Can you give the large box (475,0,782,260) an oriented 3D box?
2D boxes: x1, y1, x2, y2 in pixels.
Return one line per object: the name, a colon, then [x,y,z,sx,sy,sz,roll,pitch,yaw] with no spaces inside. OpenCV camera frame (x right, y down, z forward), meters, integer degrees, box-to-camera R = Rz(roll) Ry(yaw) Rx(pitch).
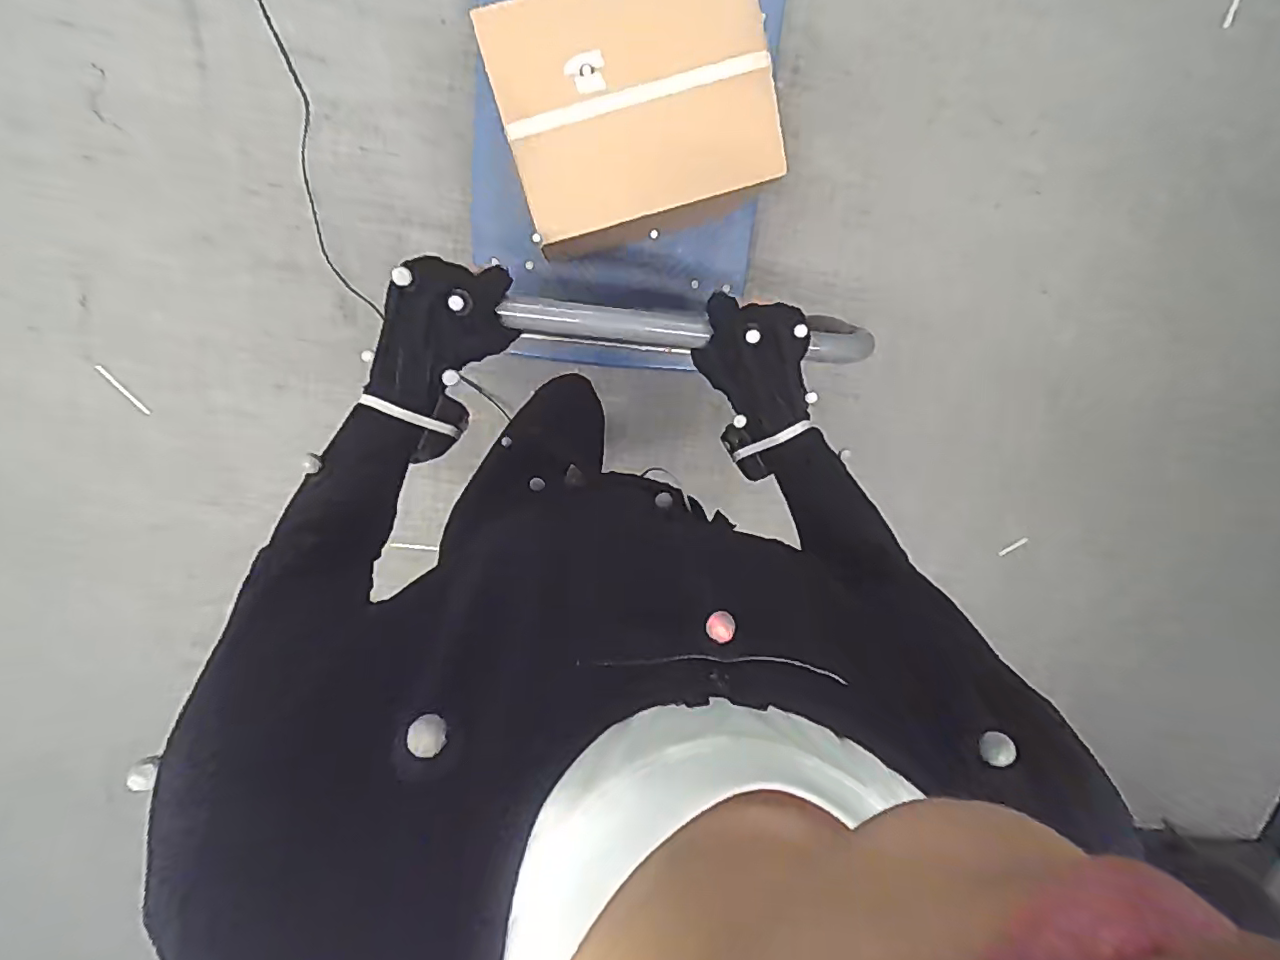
large box: [-0.018,-0.612,0.950,0.408,0.320,0.320,-17,107,0]
